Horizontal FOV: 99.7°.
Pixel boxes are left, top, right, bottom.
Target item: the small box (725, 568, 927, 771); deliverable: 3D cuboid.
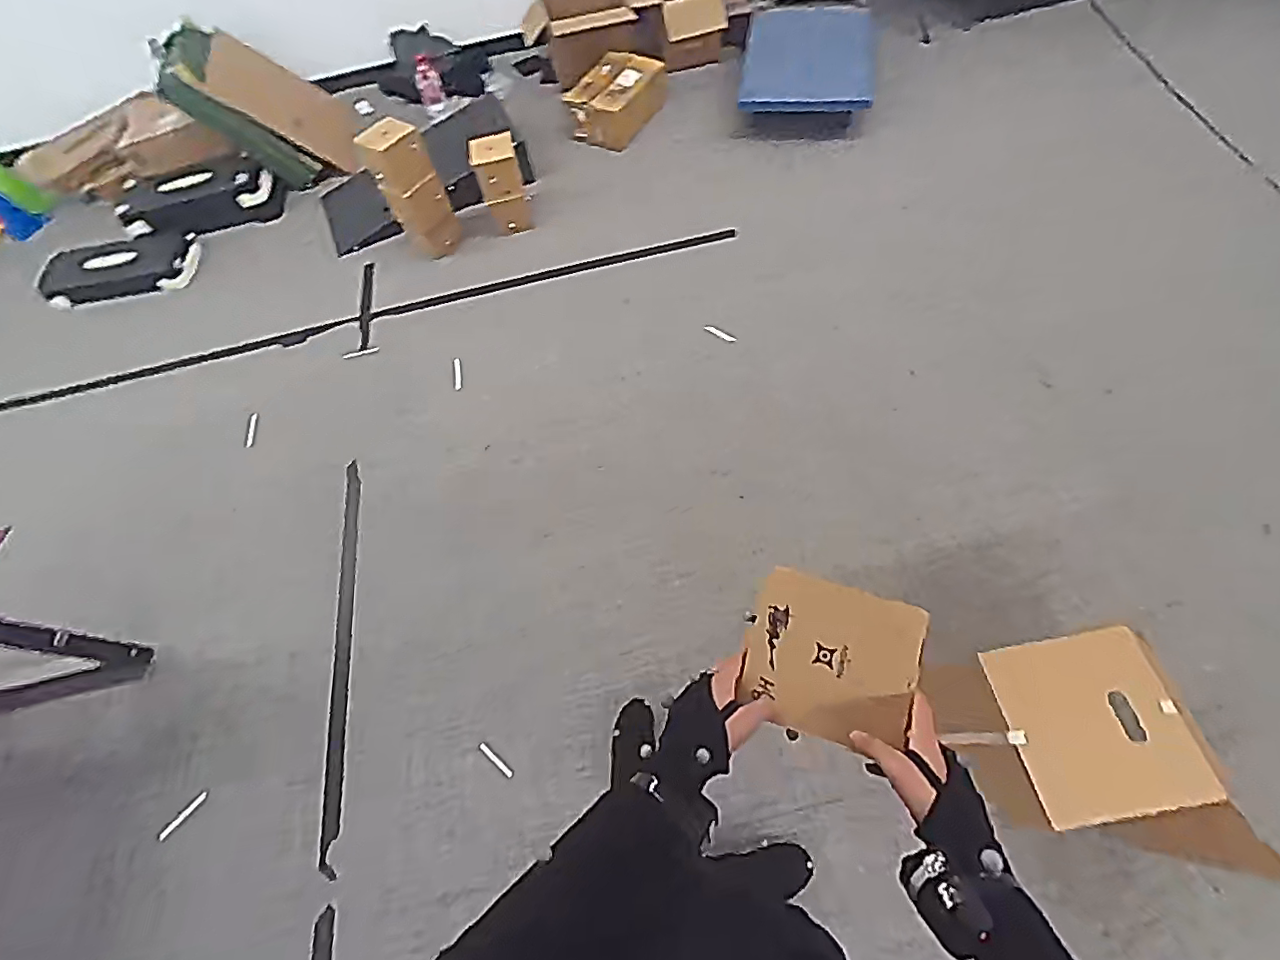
[{"bbox_3d":[0.210,0.218,0.651,0.179,0.176,0.168,16,74,11],"label":"small box"}]
